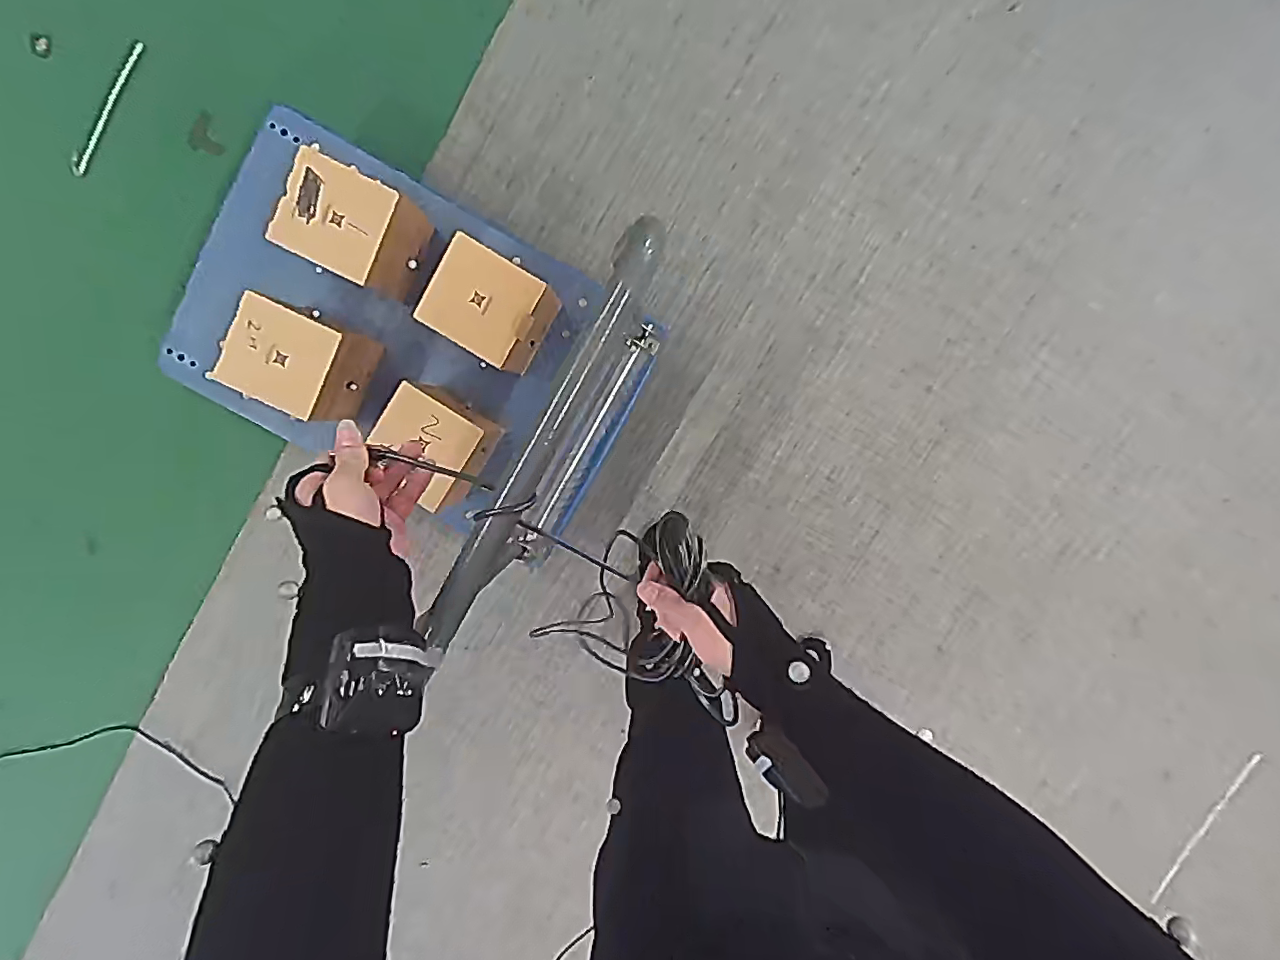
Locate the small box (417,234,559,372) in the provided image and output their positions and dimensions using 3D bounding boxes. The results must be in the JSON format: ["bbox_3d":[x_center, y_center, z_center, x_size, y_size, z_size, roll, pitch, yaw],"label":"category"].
[{"bbox_3d":[-0.268,-0.311,0.996,0.179,0.176,0.168,30,96,-5],"label":"small box"}]

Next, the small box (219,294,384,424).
[{"bbox_3d":[-0.611,-0.216,1.001,0.179,0.176,0.168,26,95,-4],"label":"small box"}]

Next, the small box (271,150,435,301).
[{"bbox_3d":[-0.504,-0.442,0.974,0.179,0.176,0.168,25,97,-5],"label":"small box"}]
